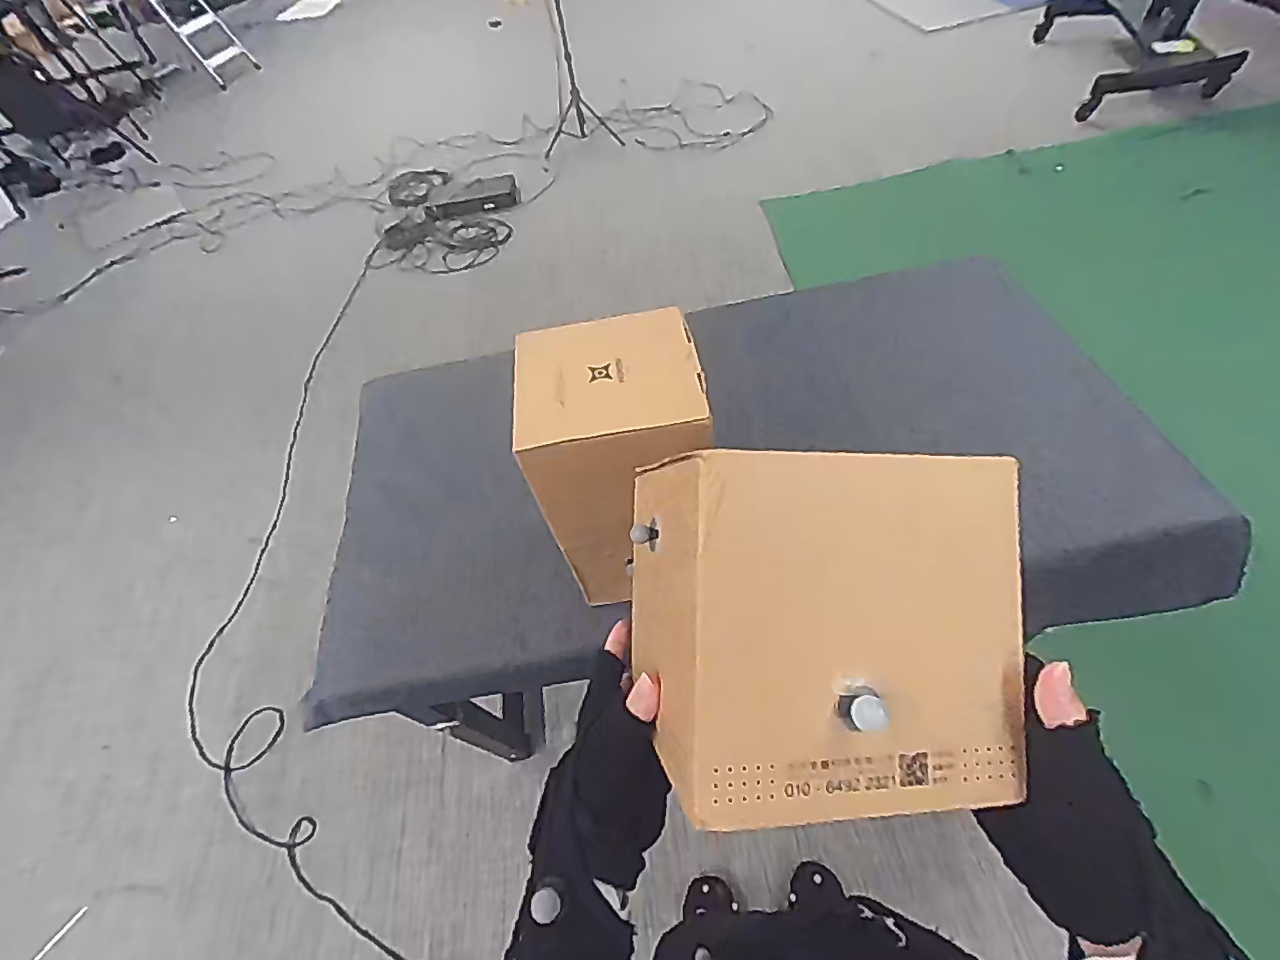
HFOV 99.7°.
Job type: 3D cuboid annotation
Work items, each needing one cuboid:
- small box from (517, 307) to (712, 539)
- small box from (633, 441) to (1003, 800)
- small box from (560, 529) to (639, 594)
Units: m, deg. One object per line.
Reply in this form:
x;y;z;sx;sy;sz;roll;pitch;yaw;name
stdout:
-0.022;-0.056;0.584;0.179;0.176;0.168;-10;52;3;small box
0.089;0.071;0.342;0.168;0.179;0.176;1;88;-10;small box
-0.001;0.036;0.717;0.179;0.176;0.168;-10;53;2;small box
